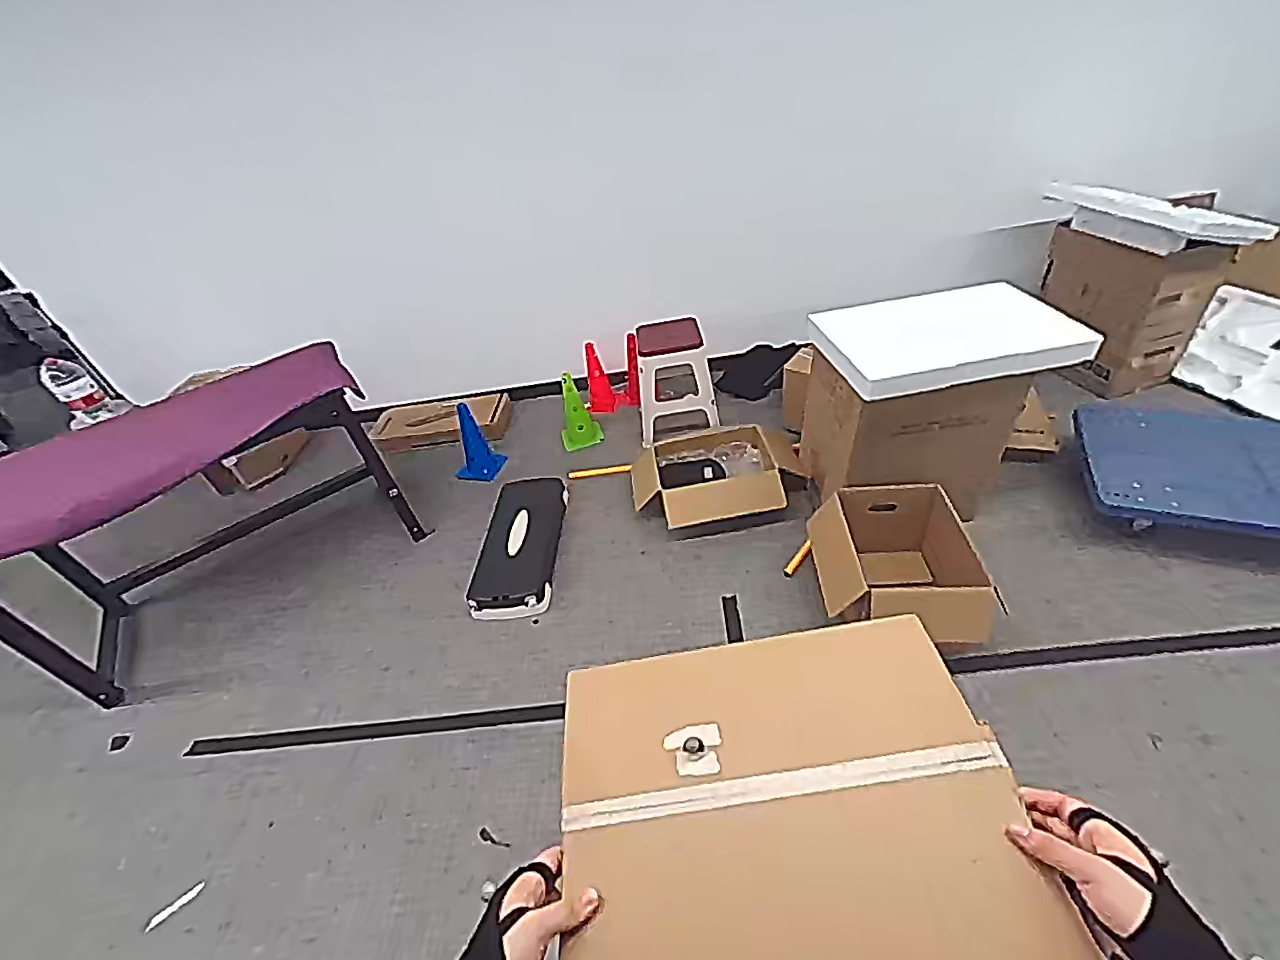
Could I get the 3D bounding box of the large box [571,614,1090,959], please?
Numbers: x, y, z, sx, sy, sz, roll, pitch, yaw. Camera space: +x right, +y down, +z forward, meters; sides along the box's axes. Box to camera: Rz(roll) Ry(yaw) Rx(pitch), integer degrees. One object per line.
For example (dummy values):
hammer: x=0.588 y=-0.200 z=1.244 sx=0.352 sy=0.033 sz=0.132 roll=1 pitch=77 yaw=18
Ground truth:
large box: x=0.159 y=0.402 z=0.615 sx=0.408 sy=0.320 sz=0.320 roll=-12 pitch=39 yaw=5
